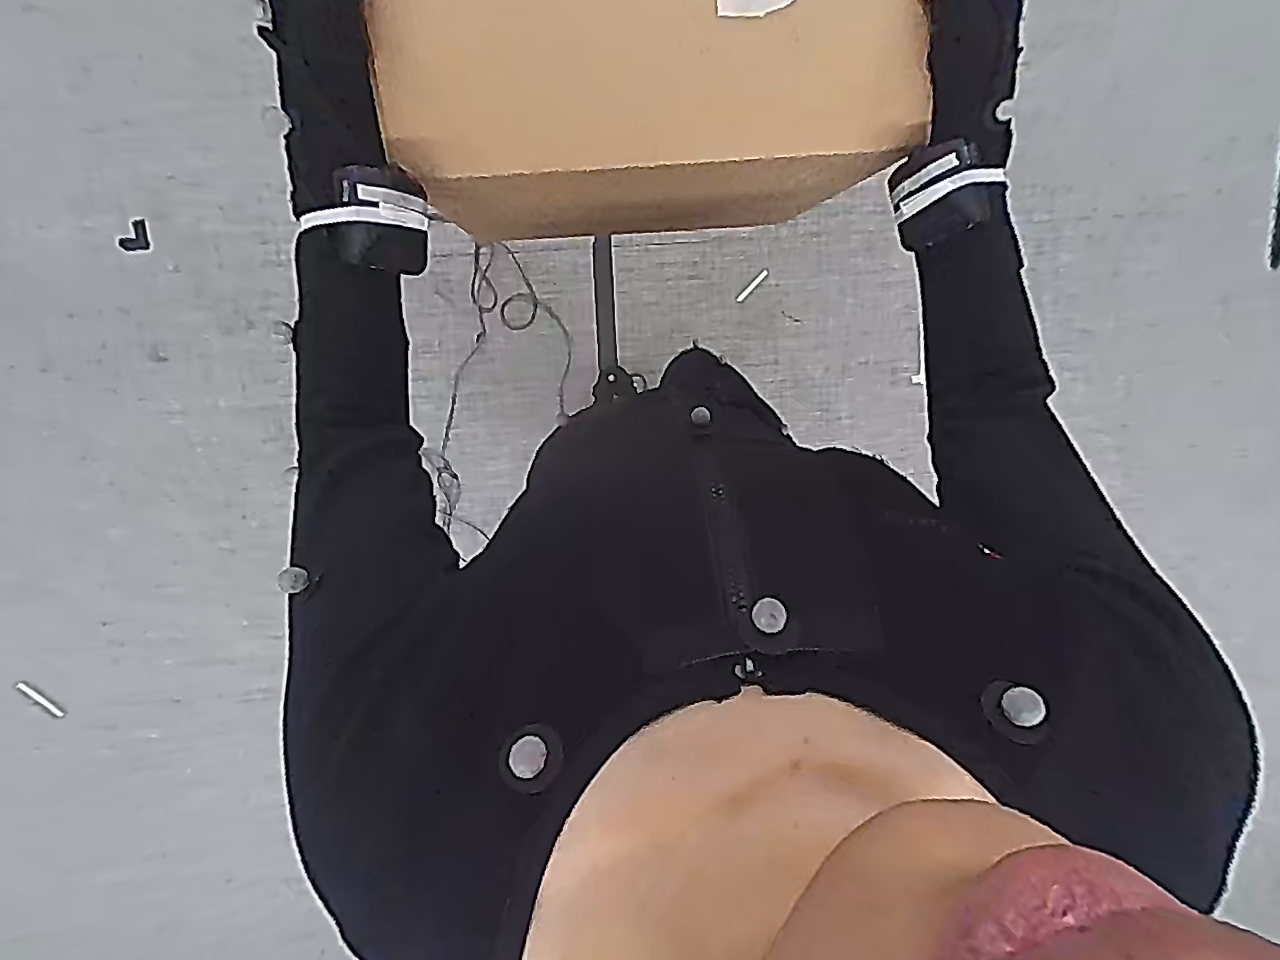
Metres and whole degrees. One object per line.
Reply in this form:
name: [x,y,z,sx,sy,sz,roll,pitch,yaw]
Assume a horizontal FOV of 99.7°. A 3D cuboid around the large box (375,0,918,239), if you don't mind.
large box: [-0.009,-0.435,0.518,0.408,0.320,0.320,-6,107,-5]
